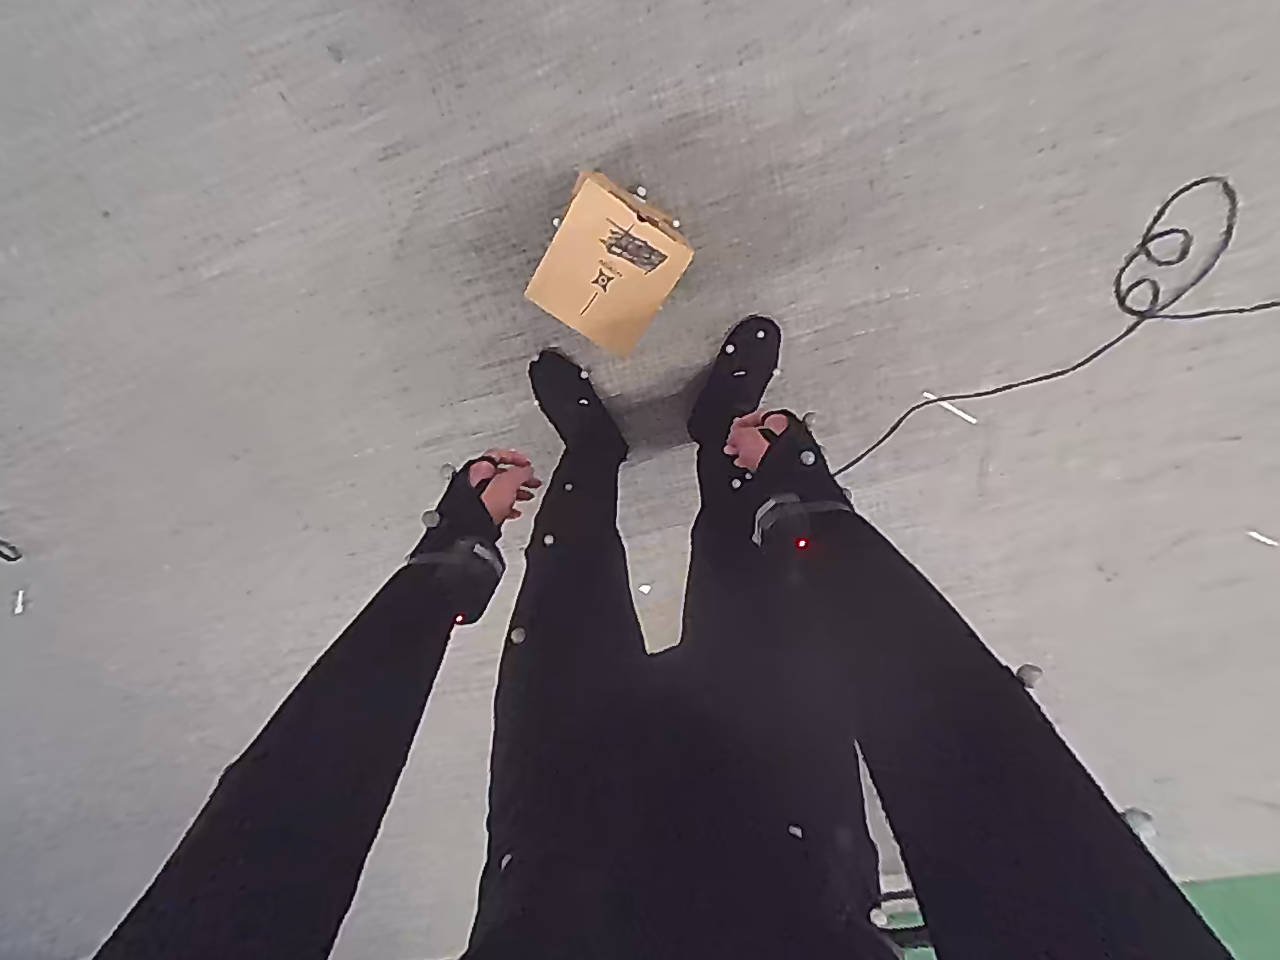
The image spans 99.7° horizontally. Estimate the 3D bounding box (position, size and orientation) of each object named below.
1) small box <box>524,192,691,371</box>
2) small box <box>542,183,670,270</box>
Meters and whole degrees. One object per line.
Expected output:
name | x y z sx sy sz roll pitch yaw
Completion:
small box | -0.046 -0.298 0.797 0.168 0.176 0.179 31 116 -15
small box | -0.059 -0.386 0.936 0.168 0.176 0.179 24 115 -12
